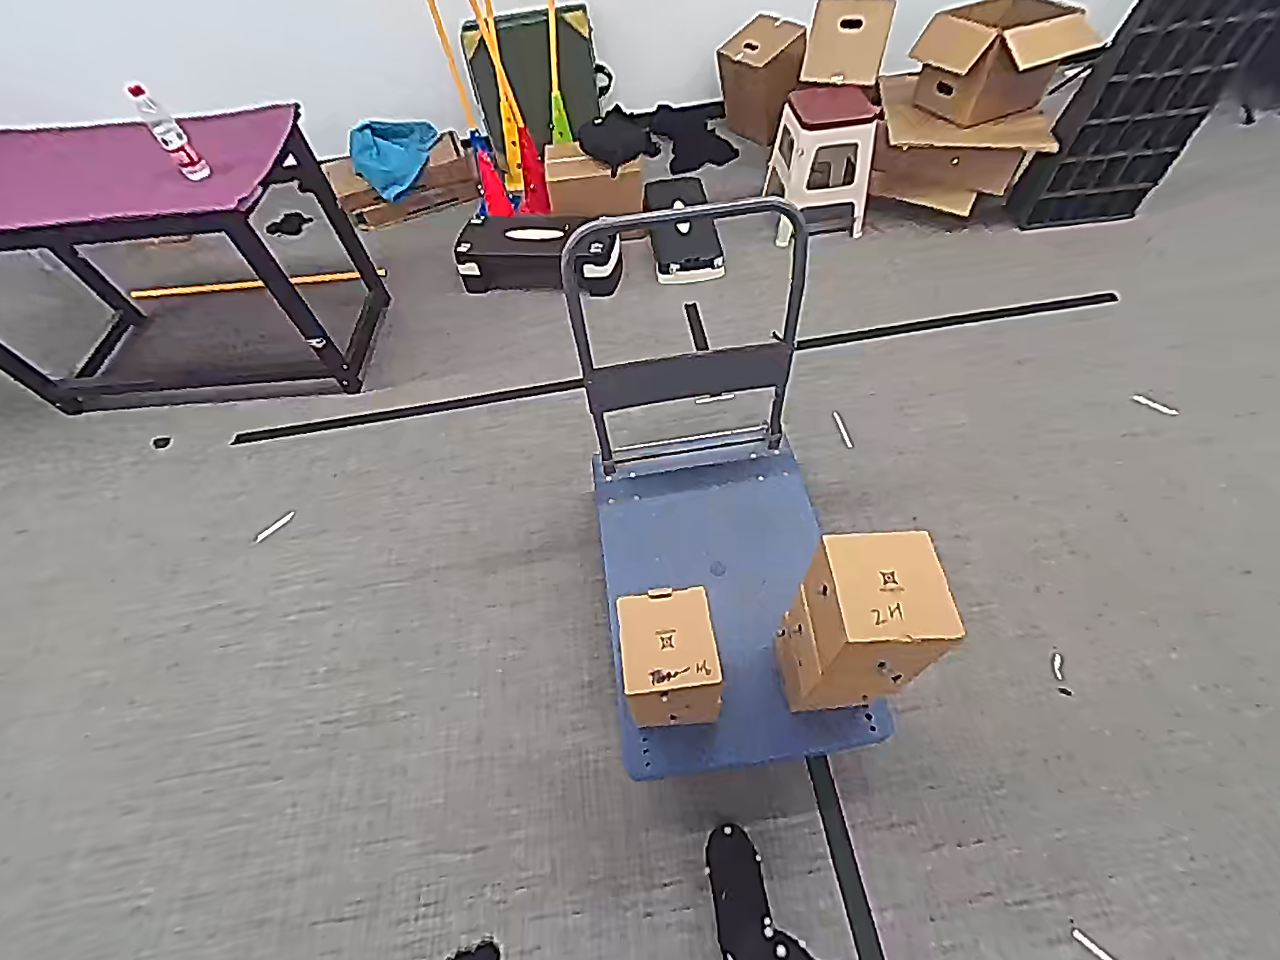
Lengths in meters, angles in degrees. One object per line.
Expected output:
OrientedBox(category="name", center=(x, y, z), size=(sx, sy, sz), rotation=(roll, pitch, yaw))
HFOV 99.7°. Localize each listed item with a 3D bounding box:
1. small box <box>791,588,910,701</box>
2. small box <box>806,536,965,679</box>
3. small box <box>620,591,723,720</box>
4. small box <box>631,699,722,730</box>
OrientedBox(category="small box", center=(0.385, 0.303, 1.000), size=(0.179, 0.176, 0.168), rotation=(-4, 55, 1))
OrientedBox(category="small box", center=(0.374, 0.207, 0.866), size=(0.168, 0.176, 0.179), rotation=(-3, 55, 3))
OrientedBox(category="small box", center=(0.055, 0.330, 1.007), size=(0.168, 0.176, 0.179), rotation=(-8, 55, 0))
OrientedBox(category="small box", center=(0.072, 0.423, 1.142), size=(0.179, 0.176, 0.168), rotation=(-6, 55, 2))
